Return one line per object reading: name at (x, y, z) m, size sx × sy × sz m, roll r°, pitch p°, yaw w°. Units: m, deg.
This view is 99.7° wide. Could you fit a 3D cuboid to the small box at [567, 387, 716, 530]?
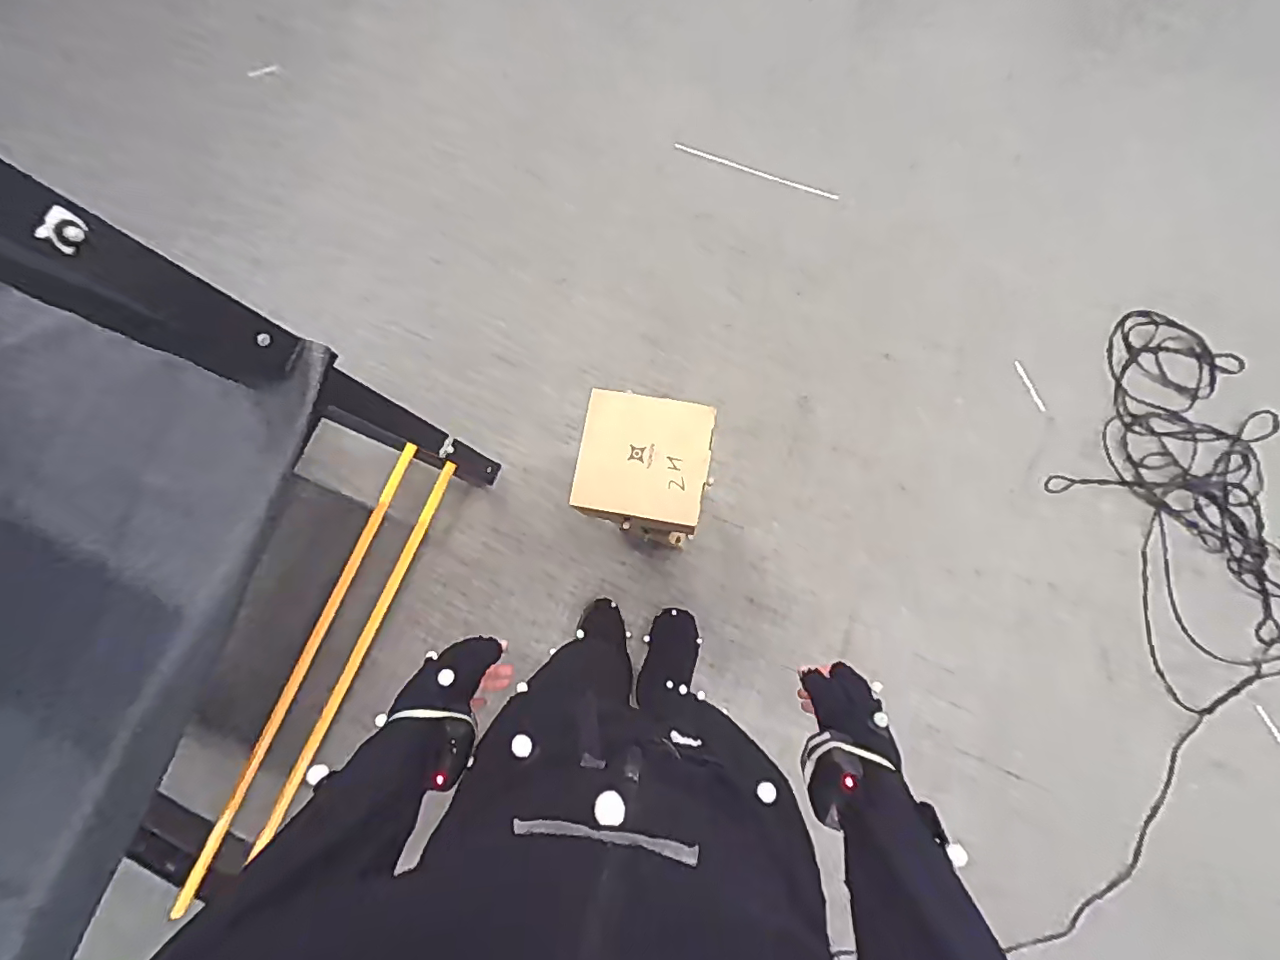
small box at (0.009, -0.023, 0.795) m, size 0.179 × 0.176 × 0.168 m, roll 10°, pitch 82°, yaw 6°
